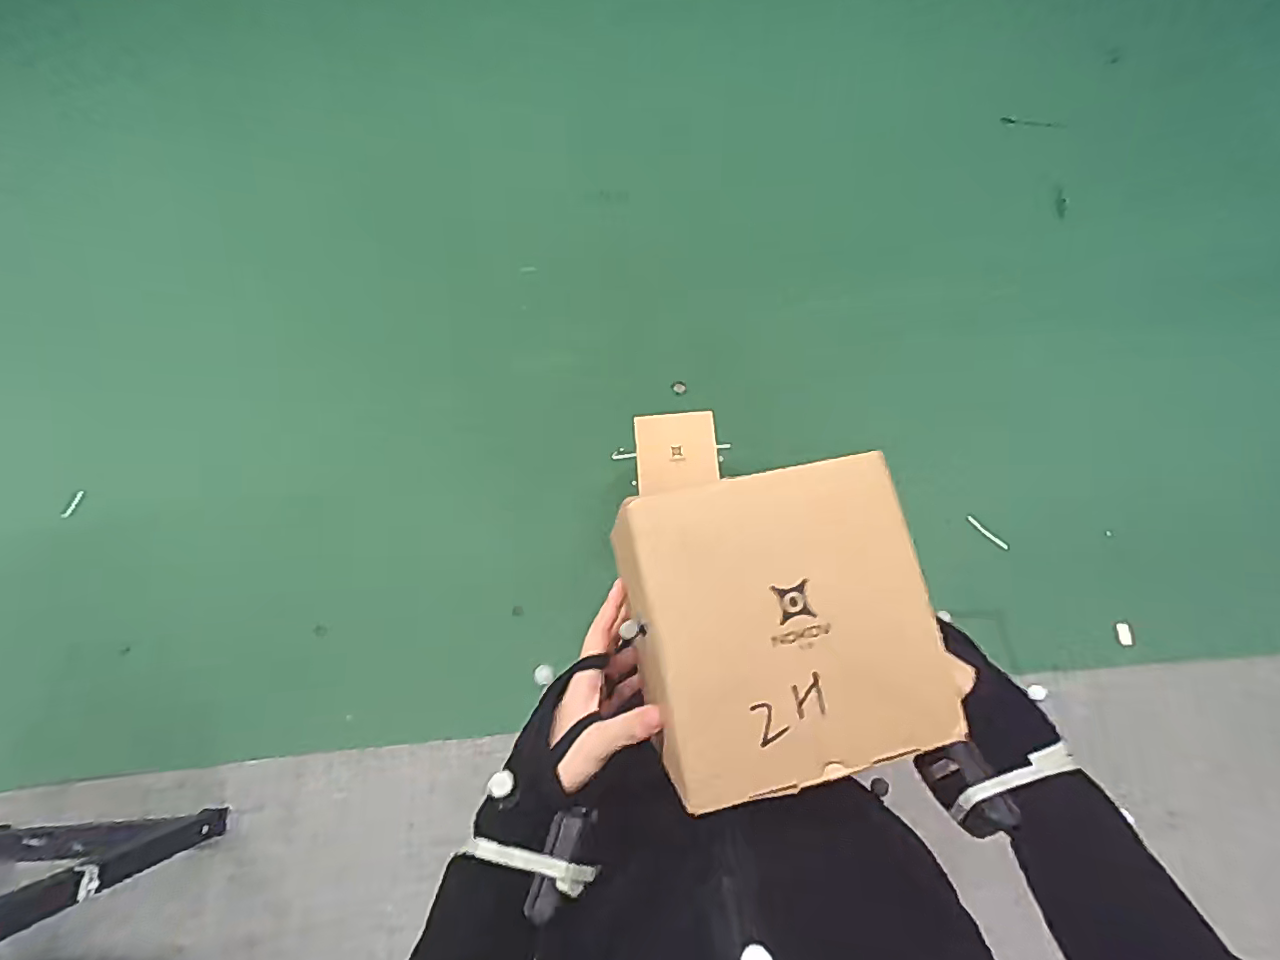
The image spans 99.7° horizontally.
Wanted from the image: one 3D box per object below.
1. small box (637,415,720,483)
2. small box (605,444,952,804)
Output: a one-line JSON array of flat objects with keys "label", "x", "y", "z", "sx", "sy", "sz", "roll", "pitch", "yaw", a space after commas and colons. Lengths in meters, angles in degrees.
[{"label": "small box", "x": 0.079, "y": -0.025, "z": 1.174, "sx": 0.168, "sy": 0.176, "sz": 0.179, "roll": -5, "pitch": 75, "yaw": 1}, {"label": "small box", "x": 0.071, "y": 0.093, "z": 0.388, "sx": 0.168, "sy": 0.176, "sz": 0.179, "roll": -11, "pitch": 77, "yaw": -8}]
